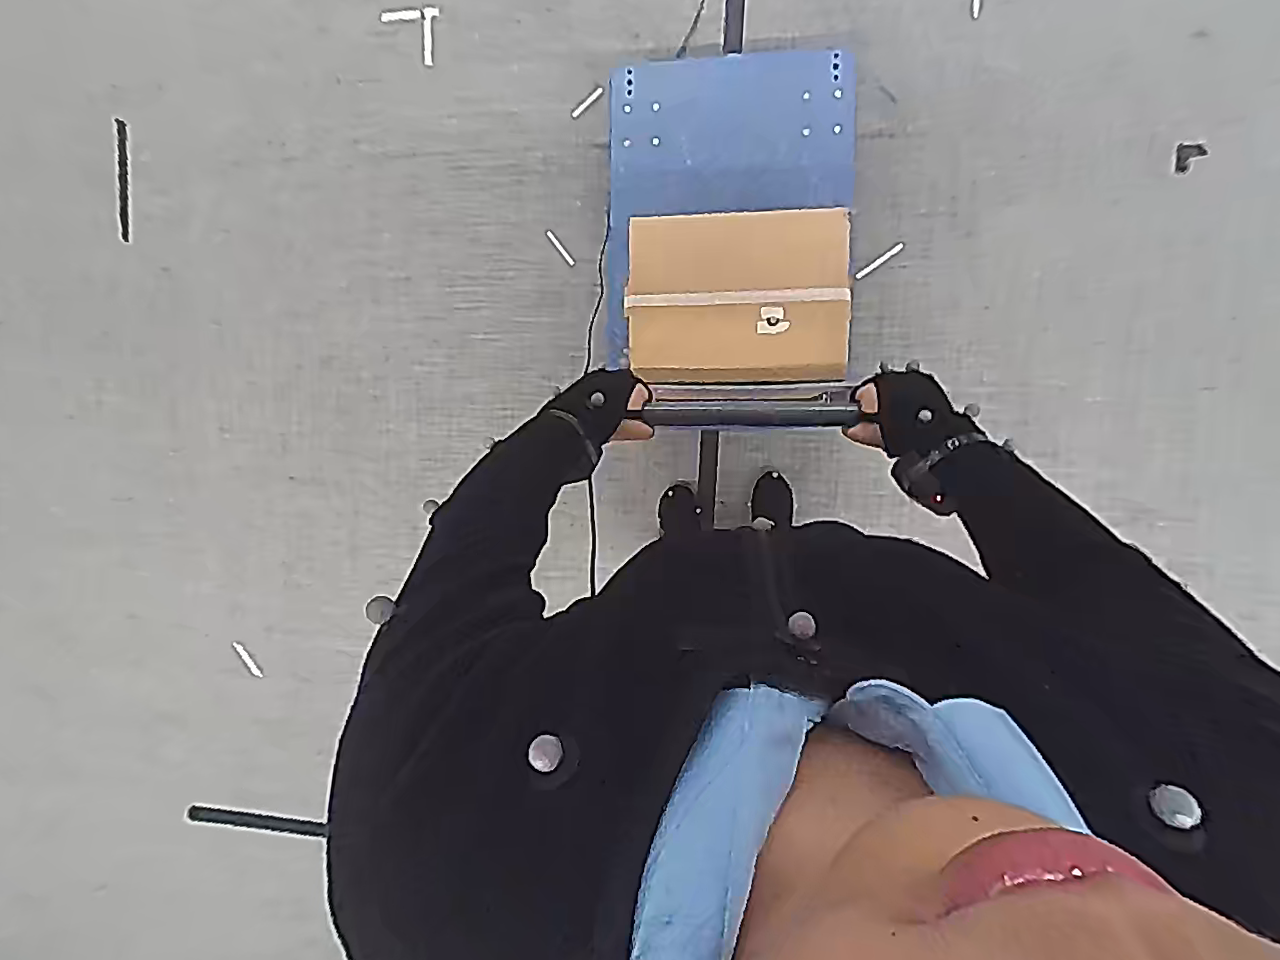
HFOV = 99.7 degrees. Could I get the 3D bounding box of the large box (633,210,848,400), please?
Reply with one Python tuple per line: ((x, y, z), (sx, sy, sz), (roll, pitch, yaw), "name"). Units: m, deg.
((0.200, -0.348, 1.168), (0.408, 0.320, 0.320), (0, 93, 6), "large box")
